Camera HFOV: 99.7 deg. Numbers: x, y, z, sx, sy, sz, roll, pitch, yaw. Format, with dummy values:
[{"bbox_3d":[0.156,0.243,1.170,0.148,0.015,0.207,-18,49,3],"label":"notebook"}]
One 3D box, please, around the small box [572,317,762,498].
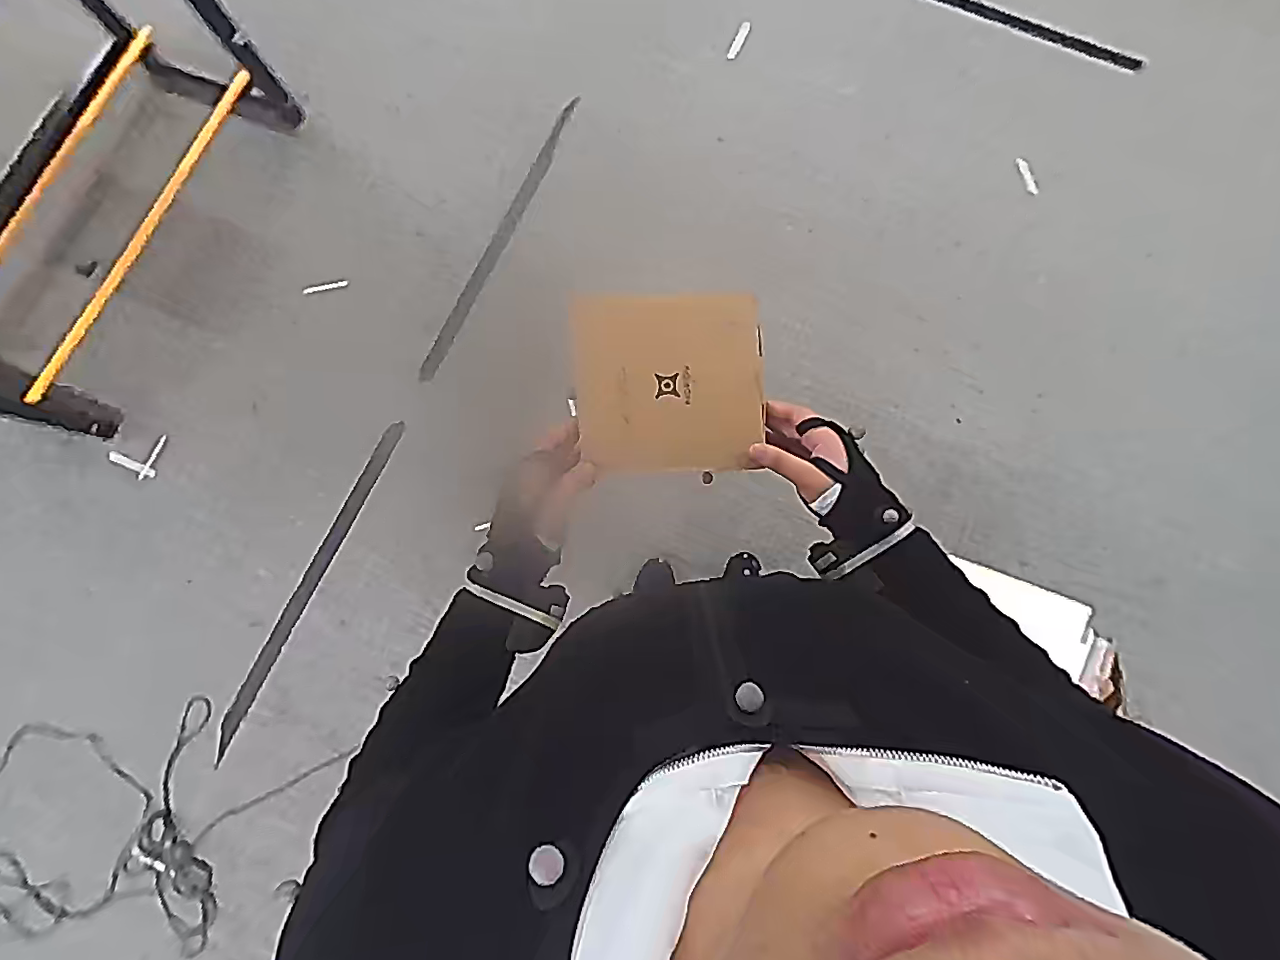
[{"bbox_3d":[0.022,-0.073,0.599,0.179,0.176,0.168,-5,91,-3],"label":"small box"}]
